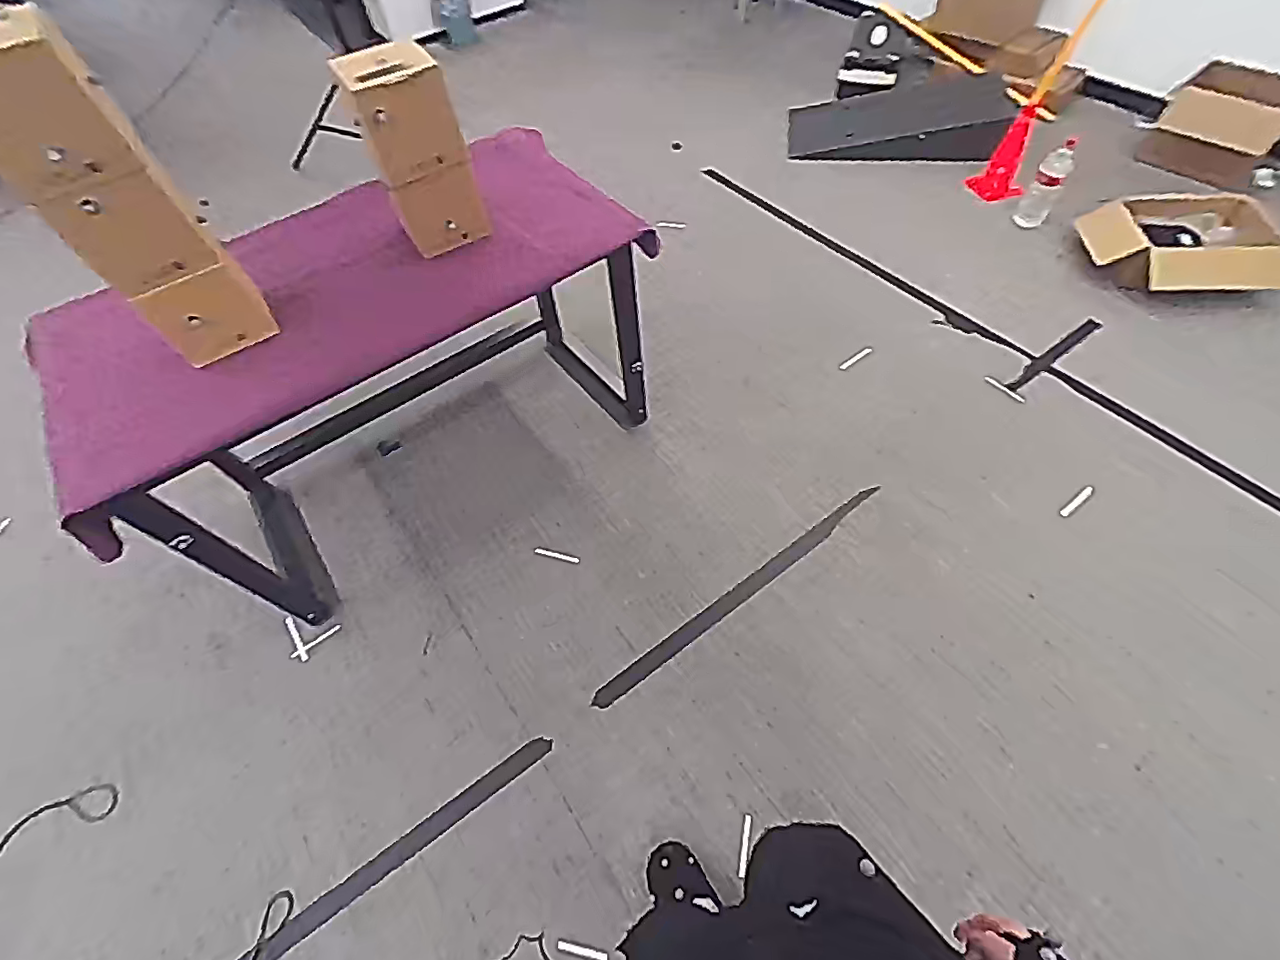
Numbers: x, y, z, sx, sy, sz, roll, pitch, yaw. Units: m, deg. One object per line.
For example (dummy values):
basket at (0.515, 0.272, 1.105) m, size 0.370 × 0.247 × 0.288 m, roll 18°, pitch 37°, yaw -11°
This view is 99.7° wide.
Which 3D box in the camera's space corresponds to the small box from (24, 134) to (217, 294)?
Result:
small box at (-0.873, -0.450, 0.918) m, size 0.168 × 0.176 × 0.179 m, roll -34°, pitch 60°, yaw -16°

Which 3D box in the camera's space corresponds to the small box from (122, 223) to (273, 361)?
small box at (-0.859, -0.358, 1.053) m, size 0.168 × 0.176 × 0.179 m, roll -33°, pitch 61°, yaw -16°

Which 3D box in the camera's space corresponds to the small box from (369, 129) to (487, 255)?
small box at (-0.465, -0.635, 1.200) m, size 0.168 × 0.176 × 0.179 m, roll -29°, pitch 60°, yaw -13°

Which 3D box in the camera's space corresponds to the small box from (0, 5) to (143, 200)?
small box at (-0.878, -0.540, 0.780) m, size 0.168 × 0.176 × 0.179 m, roll -32°, pitch 61°, yaw -16°
